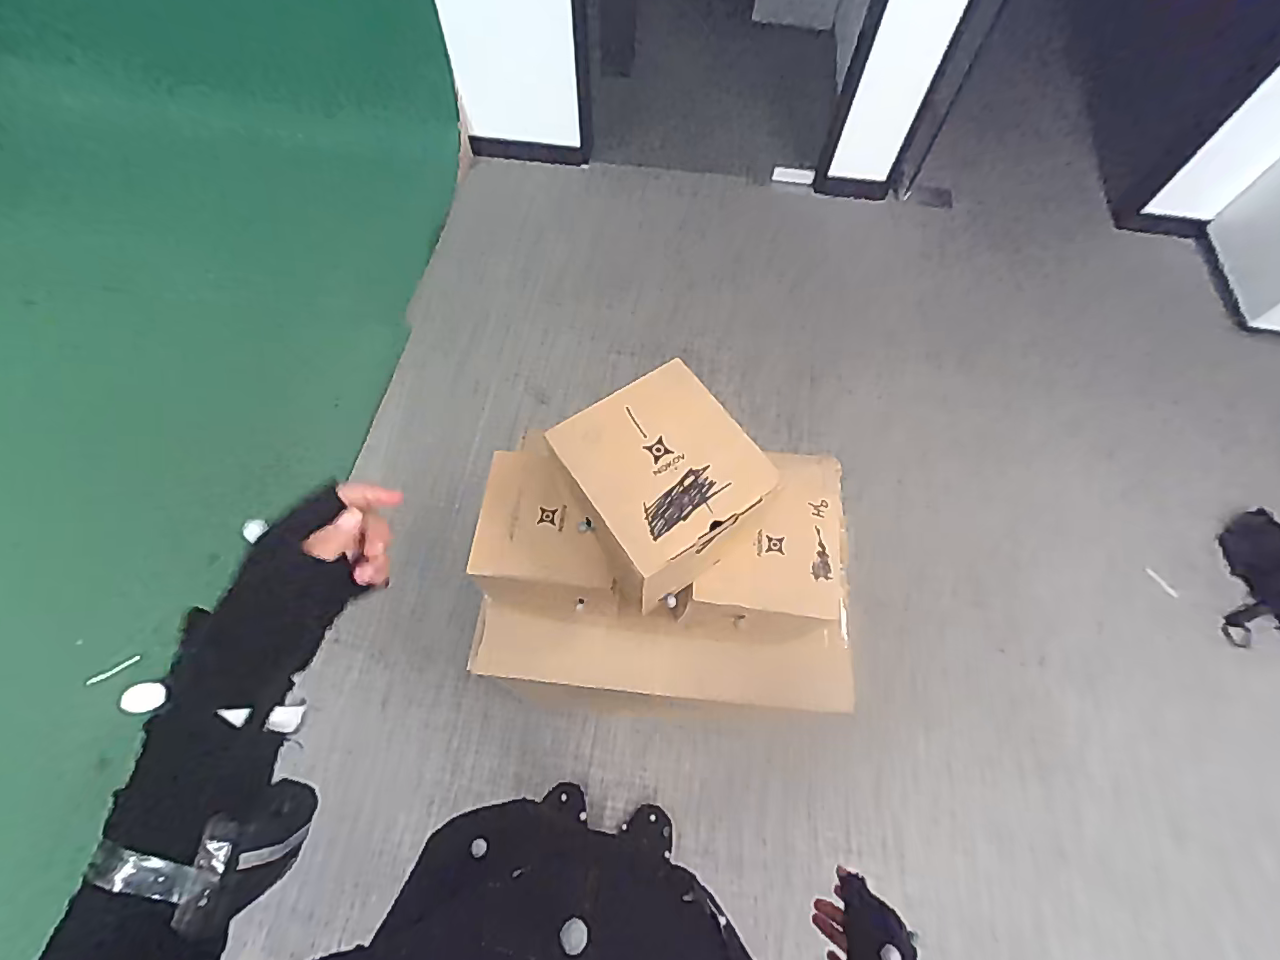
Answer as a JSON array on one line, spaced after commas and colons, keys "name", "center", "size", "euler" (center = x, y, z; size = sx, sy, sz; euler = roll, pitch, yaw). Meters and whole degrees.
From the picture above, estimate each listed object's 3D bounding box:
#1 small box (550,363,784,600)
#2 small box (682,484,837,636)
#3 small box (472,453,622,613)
[{"name": "small box", "center": [0.024, 0.014, 0.593], "size": [0.168, 0.176, 0.179], "euler": [-32, 69, -15]}, {"name": "small box", "center": [0.153, 0.110, 0.734], "size": [0.179, 0.176, 0.168], "euler": [7, 66, 3]}, {"name": "small box", "center": [-0.106, 0.080, 0.739], "size": [0.179, 0.176, 0.168], "euler": [5, 64, 1]}]
